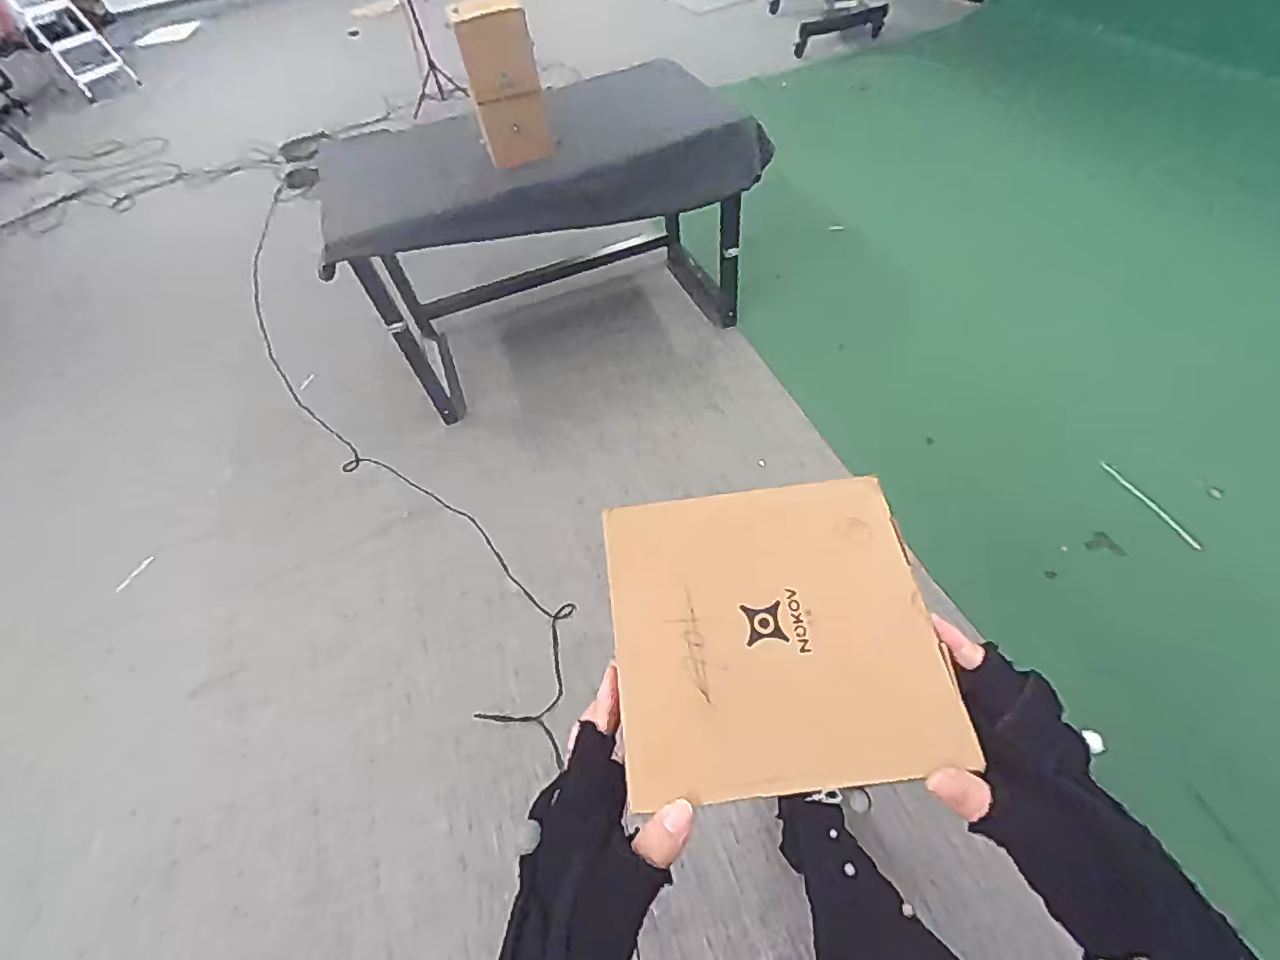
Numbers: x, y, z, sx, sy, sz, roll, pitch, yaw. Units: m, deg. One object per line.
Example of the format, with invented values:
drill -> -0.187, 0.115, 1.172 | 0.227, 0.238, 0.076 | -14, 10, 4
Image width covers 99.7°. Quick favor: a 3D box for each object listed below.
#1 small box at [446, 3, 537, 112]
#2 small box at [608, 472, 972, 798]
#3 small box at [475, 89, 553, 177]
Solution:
small box -> -0.370, -1.072, 1.374 | 0.179, 0.176, 0.168 | -18, 53, -7
small box -> 0.079, 0.115, 0.379 | 0.179, 0.176, 0.168 | -9, 60, 0
small box -> -0.351, -0.979, 1.507 | 0.179, 0.176, 0.168 | -22, 54, -10
